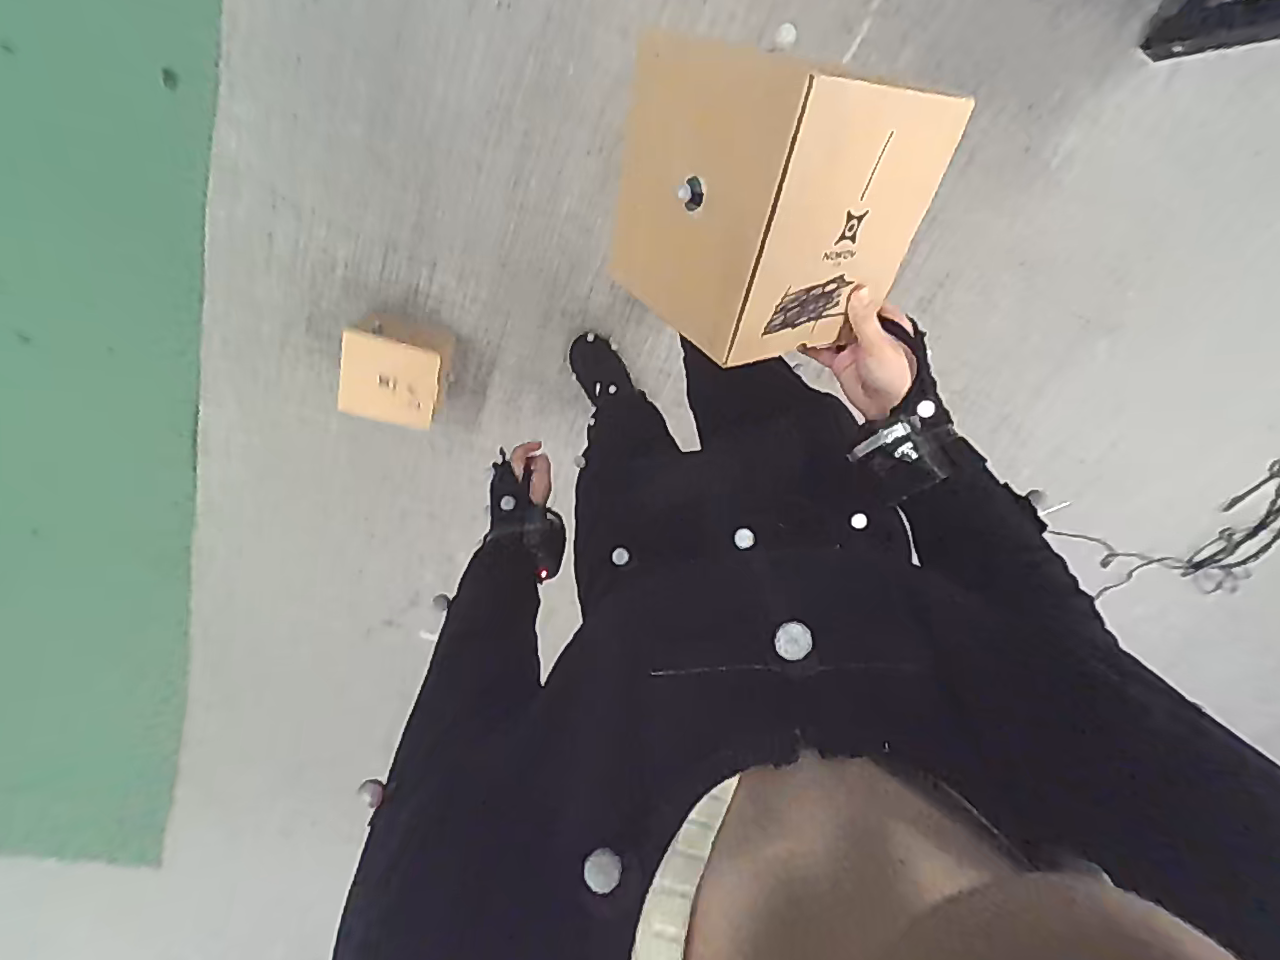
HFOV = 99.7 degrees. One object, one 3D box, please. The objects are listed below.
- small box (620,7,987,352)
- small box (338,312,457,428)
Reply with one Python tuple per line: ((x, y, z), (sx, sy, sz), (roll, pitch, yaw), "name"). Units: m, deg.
((0.102, -0.223, 0.411), (0.168, 0.176, 0.179), (-17, 139, -31), "small box")
((-0.486, -0.229, 1.098), (0.179, 0.176, 0.168), (13, 118, -15), "small box")
